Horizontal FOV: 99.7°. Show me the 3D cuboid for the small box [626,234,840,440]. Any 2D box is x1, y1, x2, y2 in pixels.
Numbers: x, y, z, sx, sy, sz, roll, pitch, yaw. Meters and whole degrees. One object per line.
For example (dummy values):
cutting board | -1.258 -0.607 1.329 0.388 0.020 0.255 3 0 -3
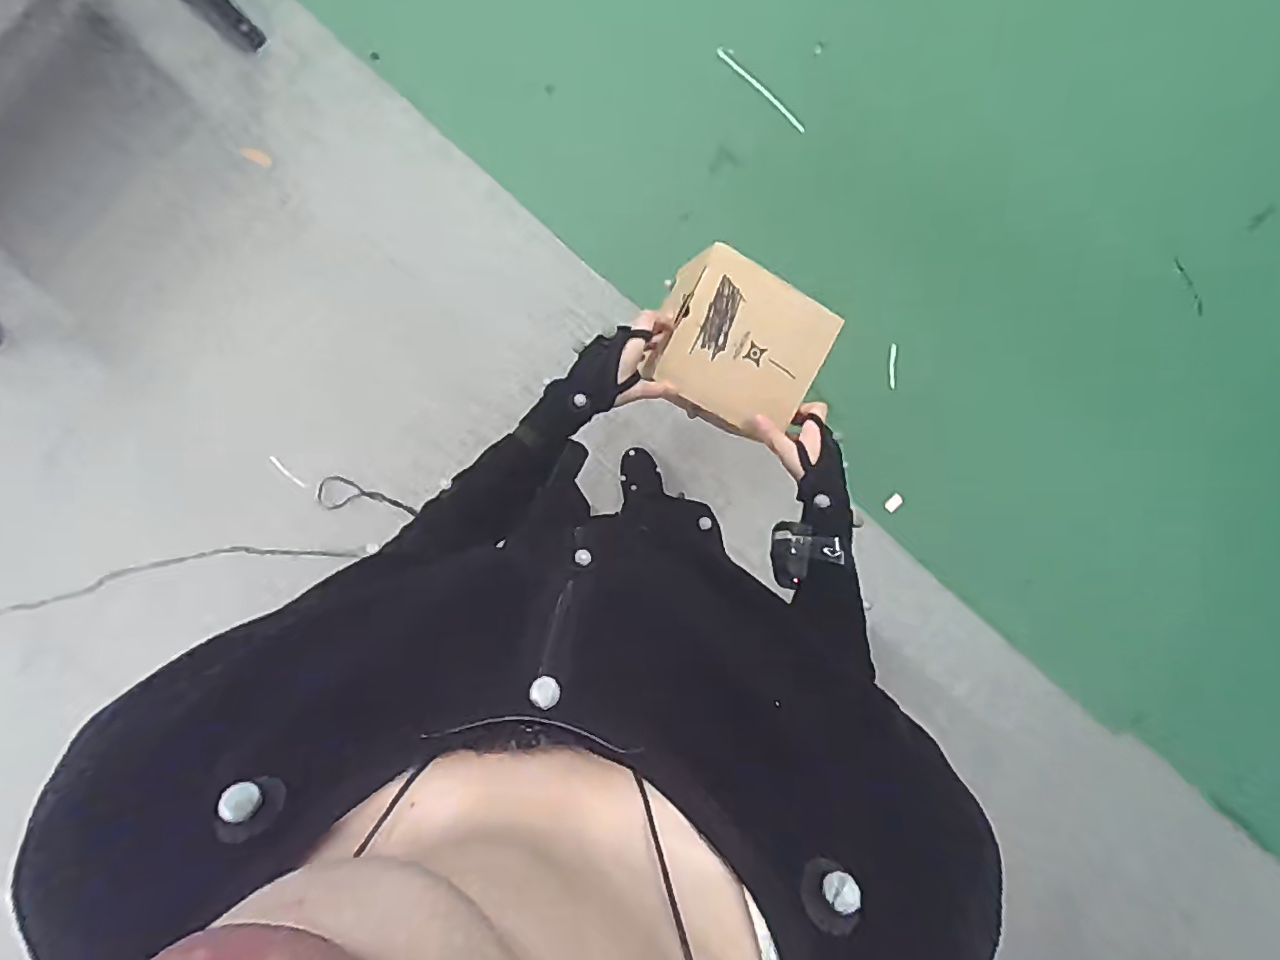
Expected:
small box | 0.099 -0.165 0.667 0.179 0.176 0.168 25 95 -14
